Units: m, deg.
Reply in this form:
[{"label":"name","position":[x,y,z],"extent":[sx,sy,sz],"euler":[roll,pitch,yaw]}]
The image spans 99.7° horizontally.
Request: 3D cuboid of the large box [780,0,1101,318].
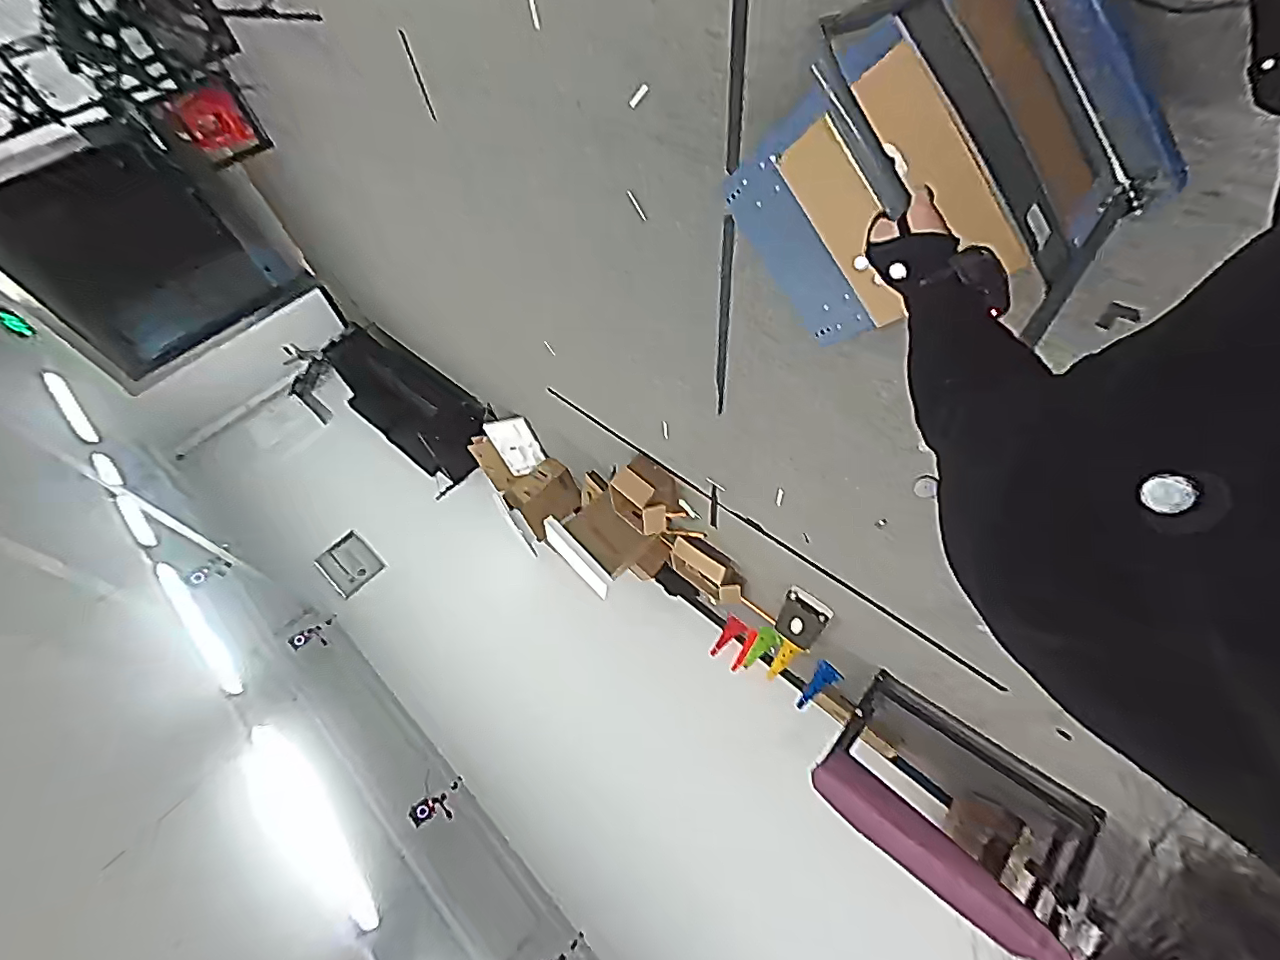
[{"label":"large box","position":[0.558,-0.598,1.022],"extent":[0.408,0.320,0.320],"euler":[51,157,-12]}]
